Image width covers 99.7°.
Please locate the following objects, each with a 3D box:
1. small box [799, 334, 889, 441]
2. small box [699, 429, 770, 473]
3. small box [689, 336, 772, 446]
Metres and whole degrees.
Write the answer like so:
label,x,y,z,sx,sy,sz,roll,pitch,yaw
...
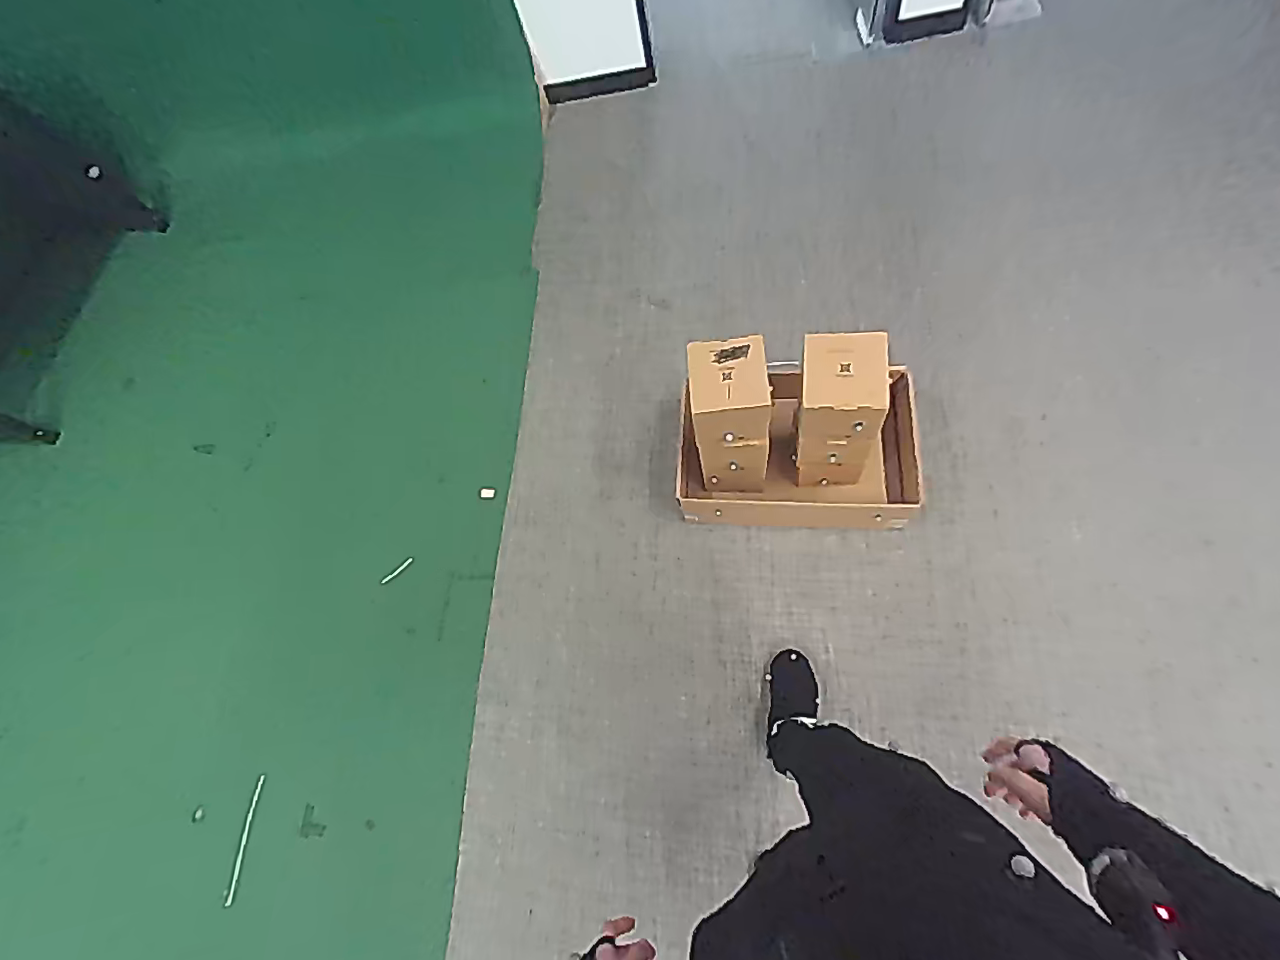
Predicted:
label,x,y,z,sx,sy,sz,roll,pitch,yaw
small box,0.436,-0.195,1.170,0.168,0.176,0.179,3,71,14
small box,0.238,-0.130,1.360,0.168,0.176,0.179,0,69,11
small box,0.199,-0.193,1.213,0.168,0.176,0.179,-5,68,9
